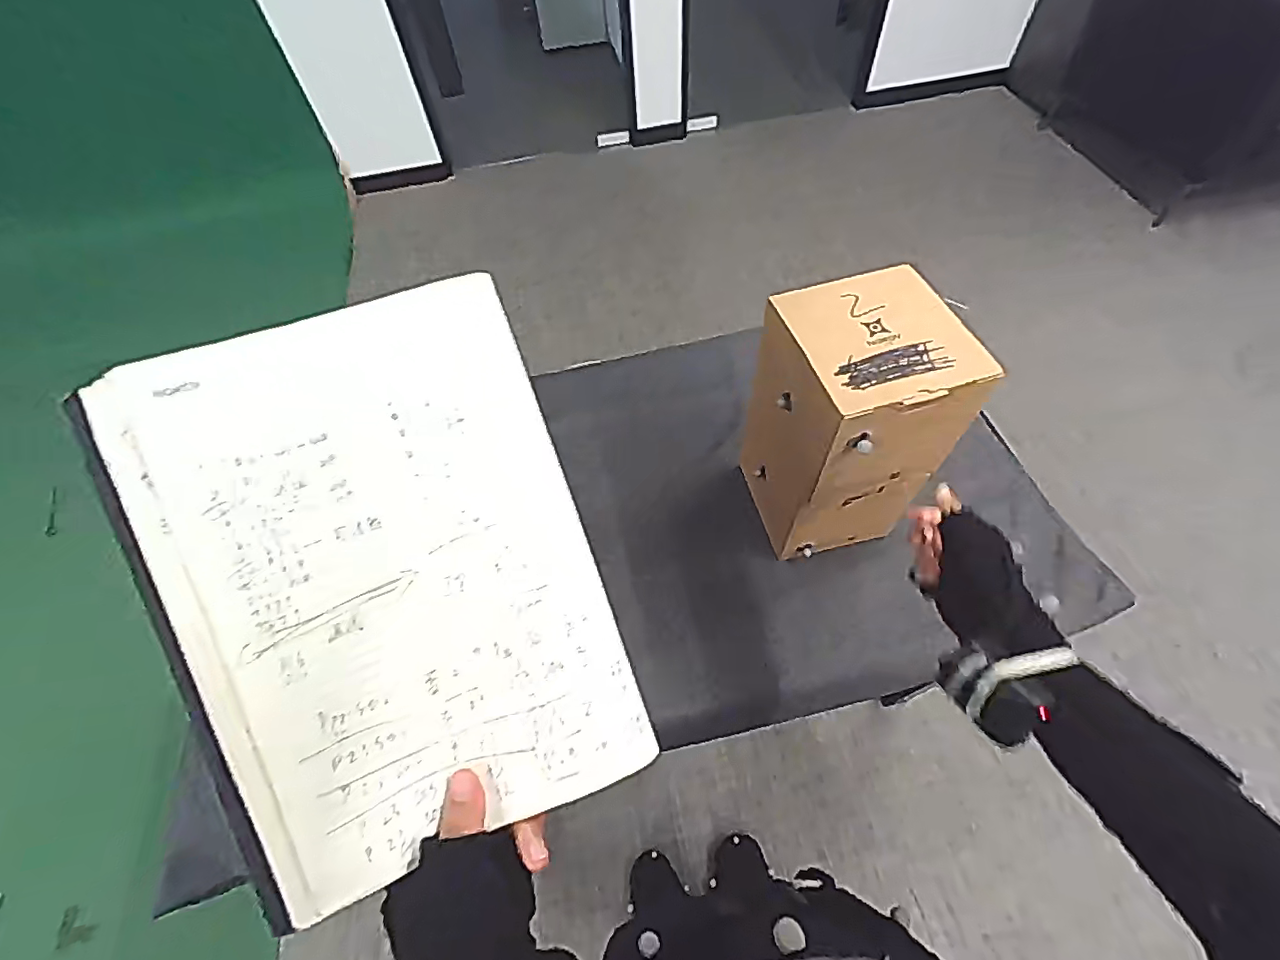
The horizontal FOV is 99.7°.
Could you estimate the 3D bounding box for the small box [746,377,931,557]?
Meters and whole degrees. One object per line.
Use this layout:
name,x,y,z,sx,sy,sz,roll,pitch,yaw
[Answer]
small box,0.256,-0.009,0.747,0.168,0.176,0.179,-13,56,-4
